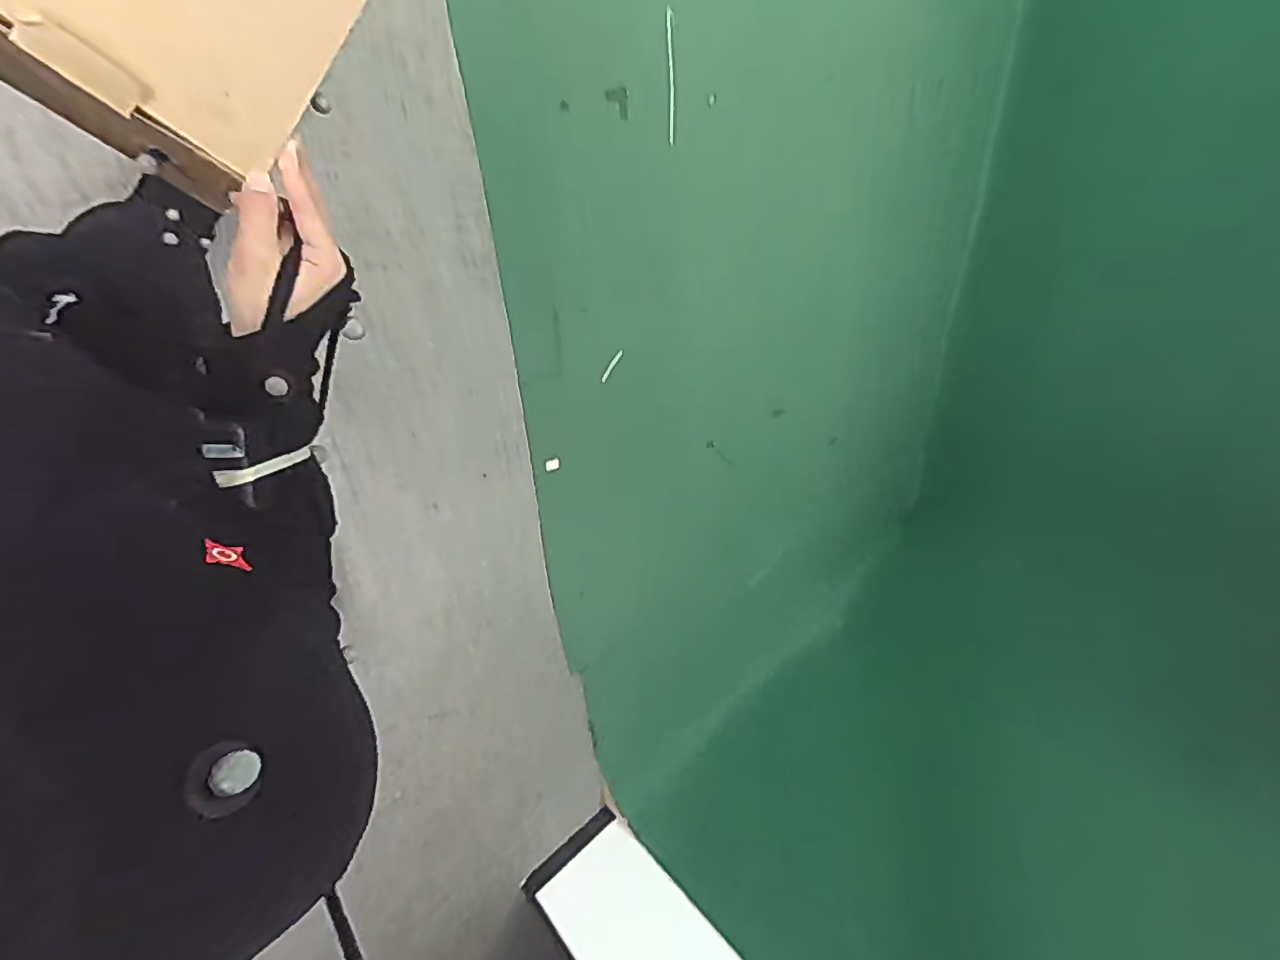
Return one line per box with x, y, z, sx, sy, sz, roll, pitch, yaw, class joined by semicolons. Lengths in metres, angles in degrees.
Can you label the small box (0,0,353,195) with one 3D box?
-0.298;-0.303;0.325;0.168;0.176;0.179;29;84;-47;small box
